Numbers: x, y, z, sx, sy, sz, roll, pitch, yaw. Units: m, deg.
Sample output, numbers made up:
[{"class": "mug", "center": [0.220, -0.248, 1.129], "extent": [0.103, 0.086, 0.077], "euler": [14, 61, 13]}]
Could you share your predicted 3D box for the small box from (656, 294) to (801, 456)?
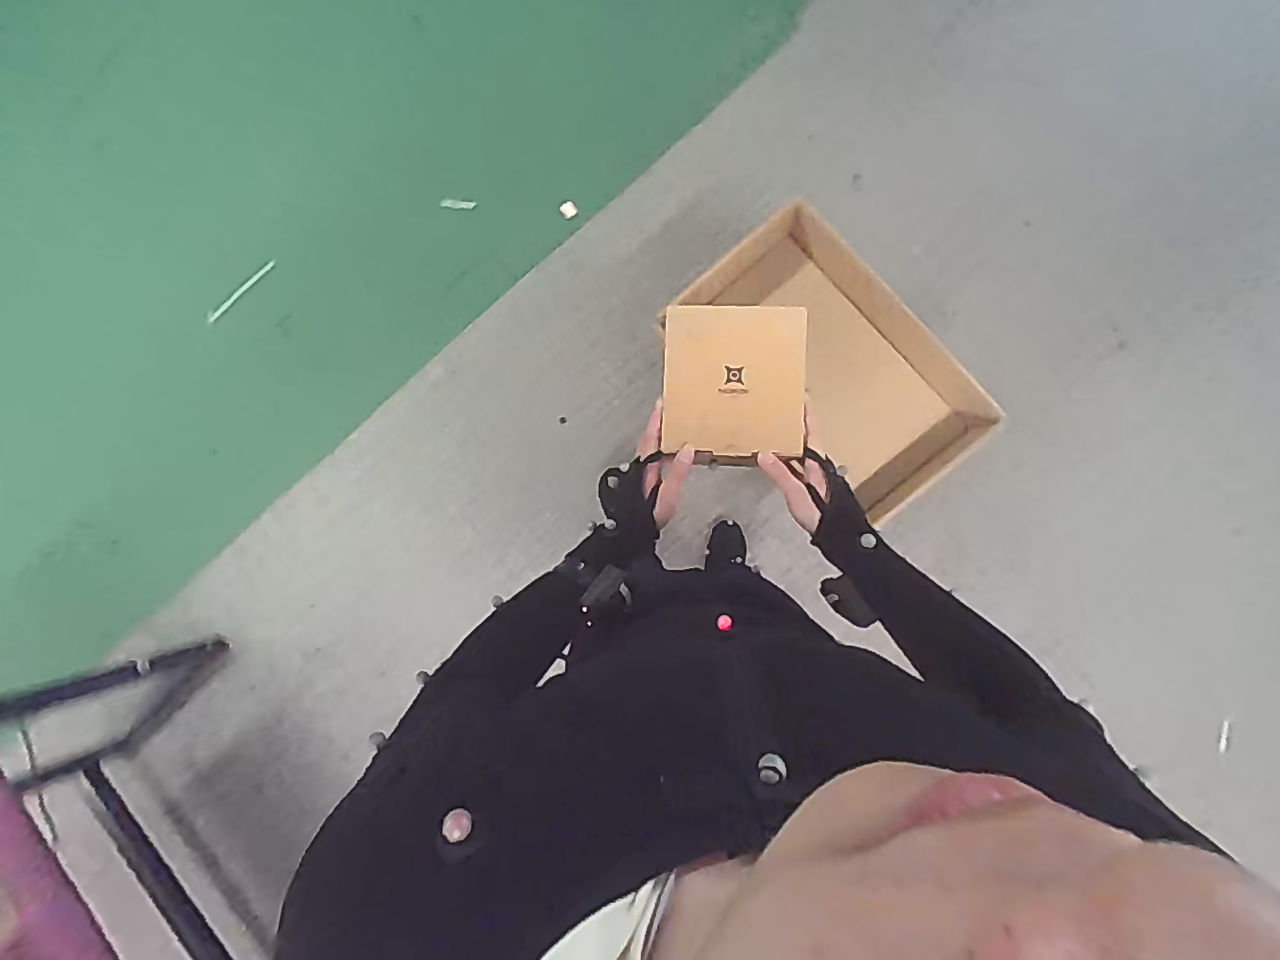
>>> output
[{"class": "small box", "center": [0.105, -0.126, 0.701], "extent": [0.168, 0.176, 0.179], "euler": [1, 89, 3]}]

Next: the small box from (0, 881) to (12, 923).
[{"class": "small box", "center": [-1.311, 0.806, 0.963], "extent": [0.179, 0.176, 0.168], "euler": [-40, 85, 4]}]
